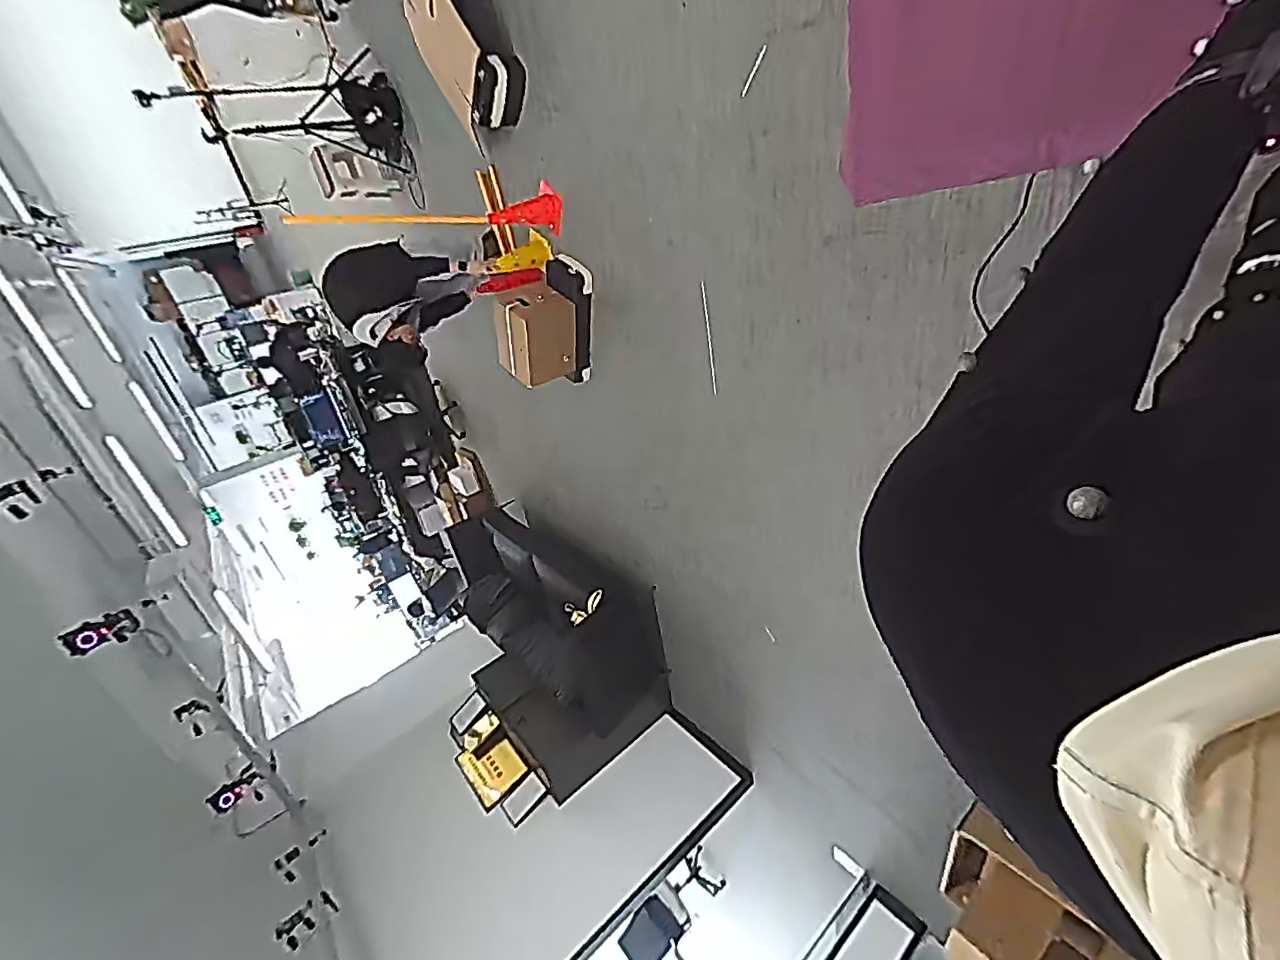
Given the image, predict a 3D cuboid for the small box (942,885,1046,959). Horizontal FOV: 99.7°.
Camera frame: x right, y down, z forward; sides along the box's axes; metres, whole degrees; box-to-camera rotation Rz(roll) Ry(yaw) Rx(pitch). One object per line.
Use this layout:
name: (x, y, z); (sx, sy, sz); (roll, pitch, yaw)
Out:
small box: (0.962, 1.263, 1.468); (0.179, 0.176, 0.168); (28, 135, 45)
